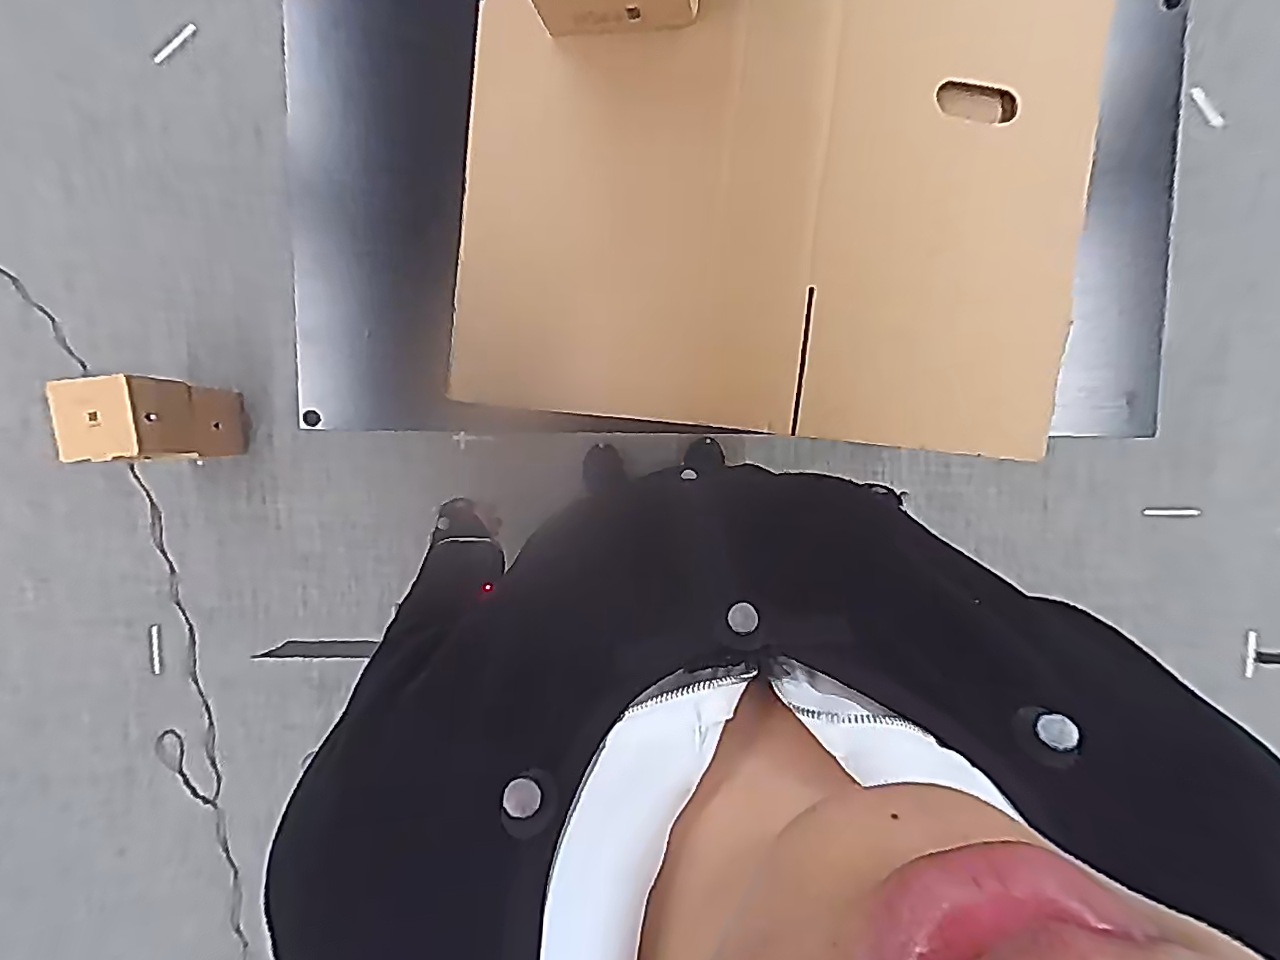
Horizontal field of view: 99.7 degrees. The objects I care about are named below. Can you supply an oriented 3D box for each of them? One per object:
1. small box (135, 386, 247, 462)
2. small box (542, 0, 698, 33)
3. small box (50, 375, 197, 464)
[{"bbox_3d":[-1.151,-0.140,1.383,0.168,0.176,0.179,-4,95,-1],"label":"small box"},{"bbox_3d":[-0.030,-0.558,0.487,0.168,0.176,0.179,7,93,14],"label":"small box"},{"bbox_3d":[-1.150,-0.134,1.221,0.168,0.176,0.179,-7,93,-1],"label":"small box"}]
